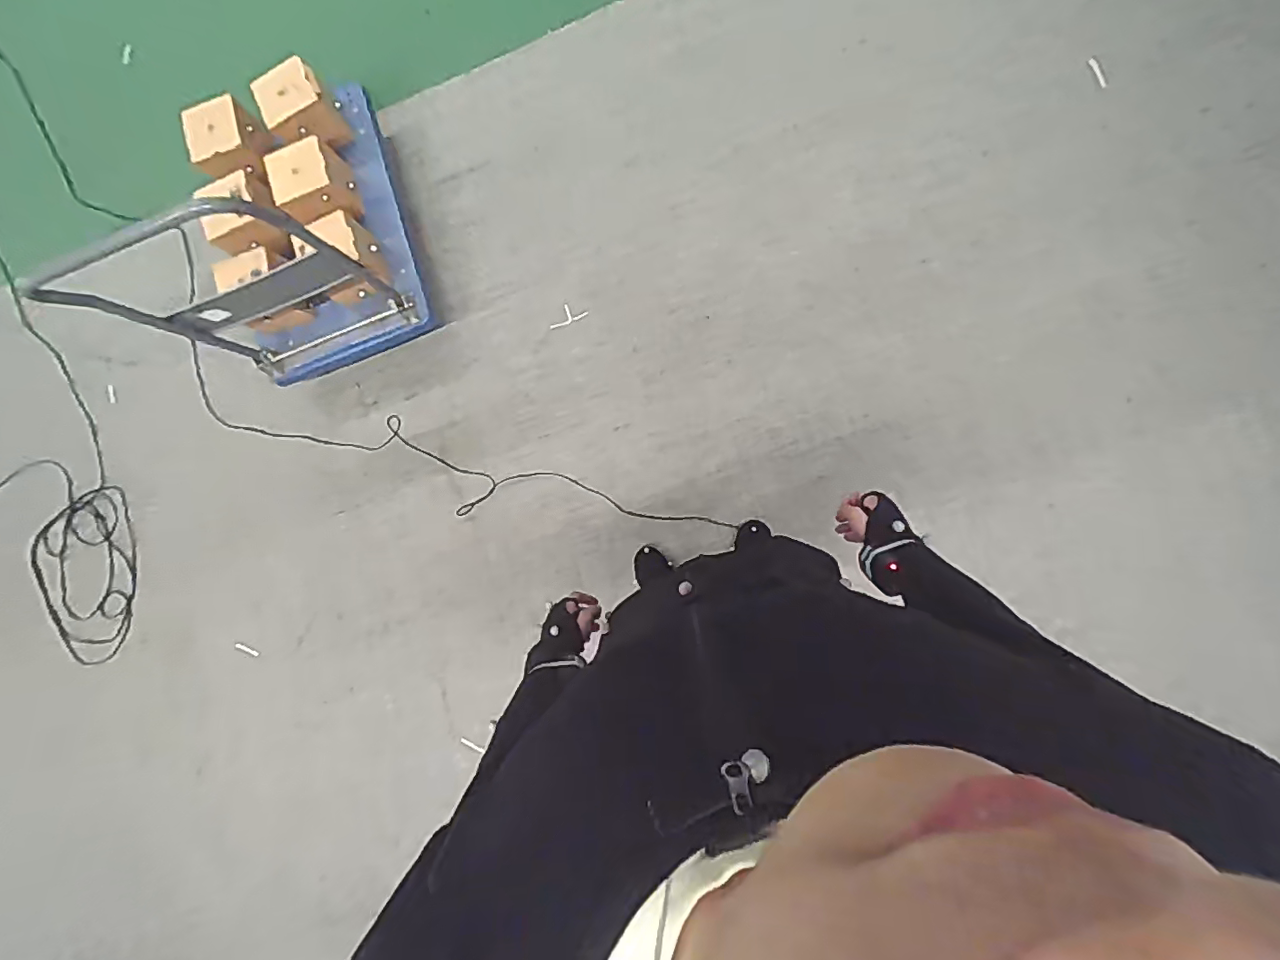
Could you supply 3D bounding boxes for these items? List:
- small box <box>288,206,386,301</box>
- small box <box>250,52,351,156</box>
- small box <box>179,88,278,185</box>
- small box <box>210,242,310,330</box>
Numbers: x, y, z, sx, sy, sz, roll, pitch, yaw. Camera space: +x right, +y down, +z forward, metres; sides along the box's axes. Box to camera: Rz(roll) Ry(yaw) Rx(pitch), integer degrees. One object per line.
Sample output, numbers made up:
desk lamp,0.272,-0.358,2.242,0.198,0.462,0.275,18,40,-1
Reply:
small box,-0.879,-0.659,1.592,0.179,0.176,0.168,-21,83,5
small box,-1.026,-1.131,1.643,0.179,0.176,0.168,-19,87,5
small box,-1.263,-1.048,1.672,0.168,0.176,0.179,-16,84,5
small box,-1.127,-0.573,1.619,0.179,0.176,0.168,-17,84,7
